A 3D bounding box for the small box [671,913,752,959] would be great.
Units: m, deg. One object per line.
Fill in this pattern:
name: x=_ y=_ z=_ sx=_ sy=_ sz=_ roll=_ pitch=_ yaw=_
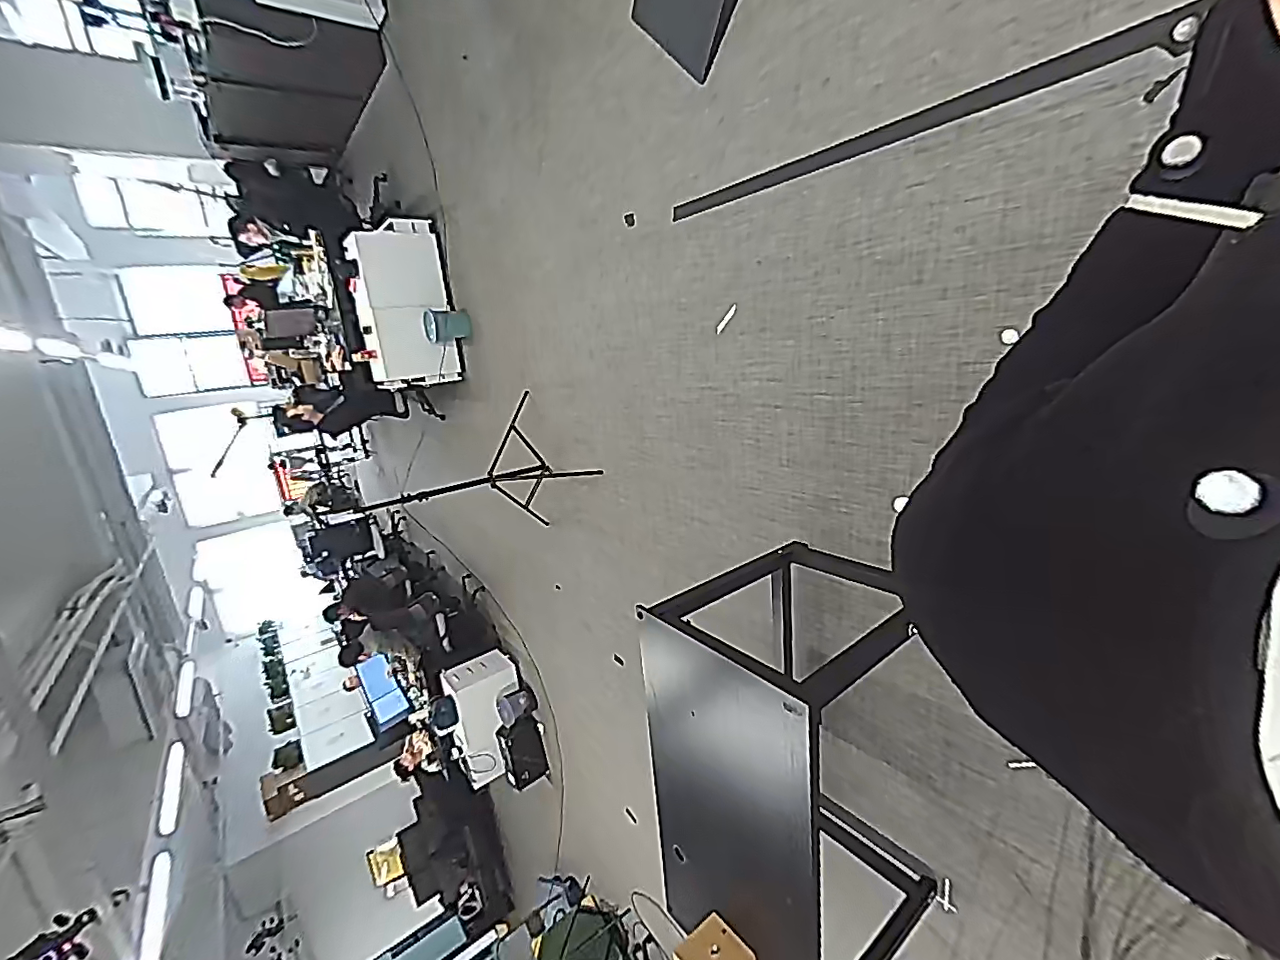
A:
small box: x=0.211 y=1.413 z=1.550 sx=0.168 sy=0.176 sz=0.179 roll=11 pitch=112 yaw=52
